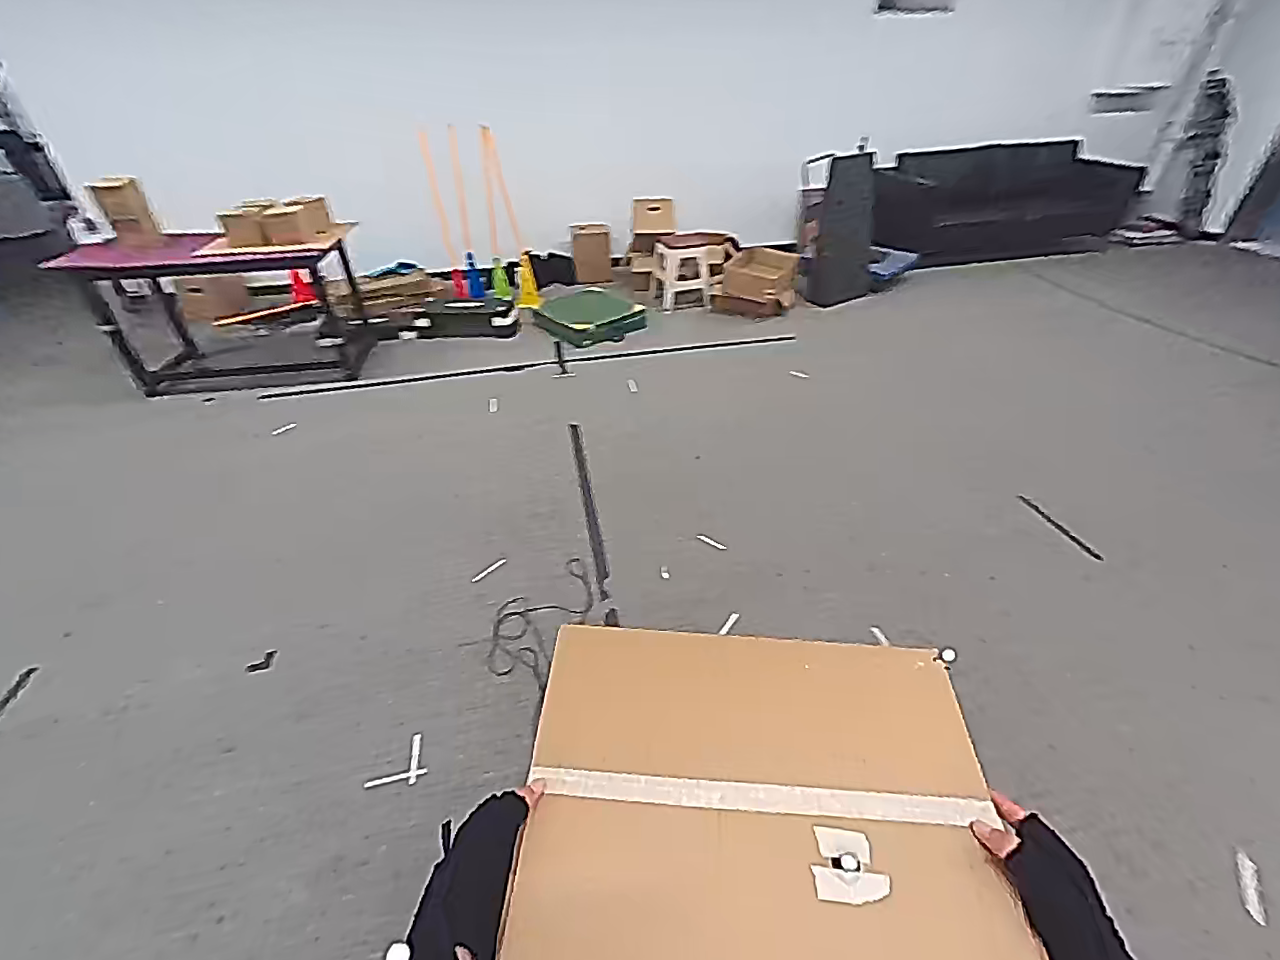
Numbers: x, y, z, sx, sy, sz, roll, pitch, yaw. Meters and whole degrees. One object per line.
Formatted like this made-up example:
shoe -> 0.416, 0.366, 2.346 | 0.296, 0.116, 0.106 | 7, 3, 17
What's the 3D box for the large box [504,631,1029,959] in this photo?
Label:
large box -> 0.099, 0.389, 0.589 | 0.408, 0.320, 0.320 | 3, 45, 3
